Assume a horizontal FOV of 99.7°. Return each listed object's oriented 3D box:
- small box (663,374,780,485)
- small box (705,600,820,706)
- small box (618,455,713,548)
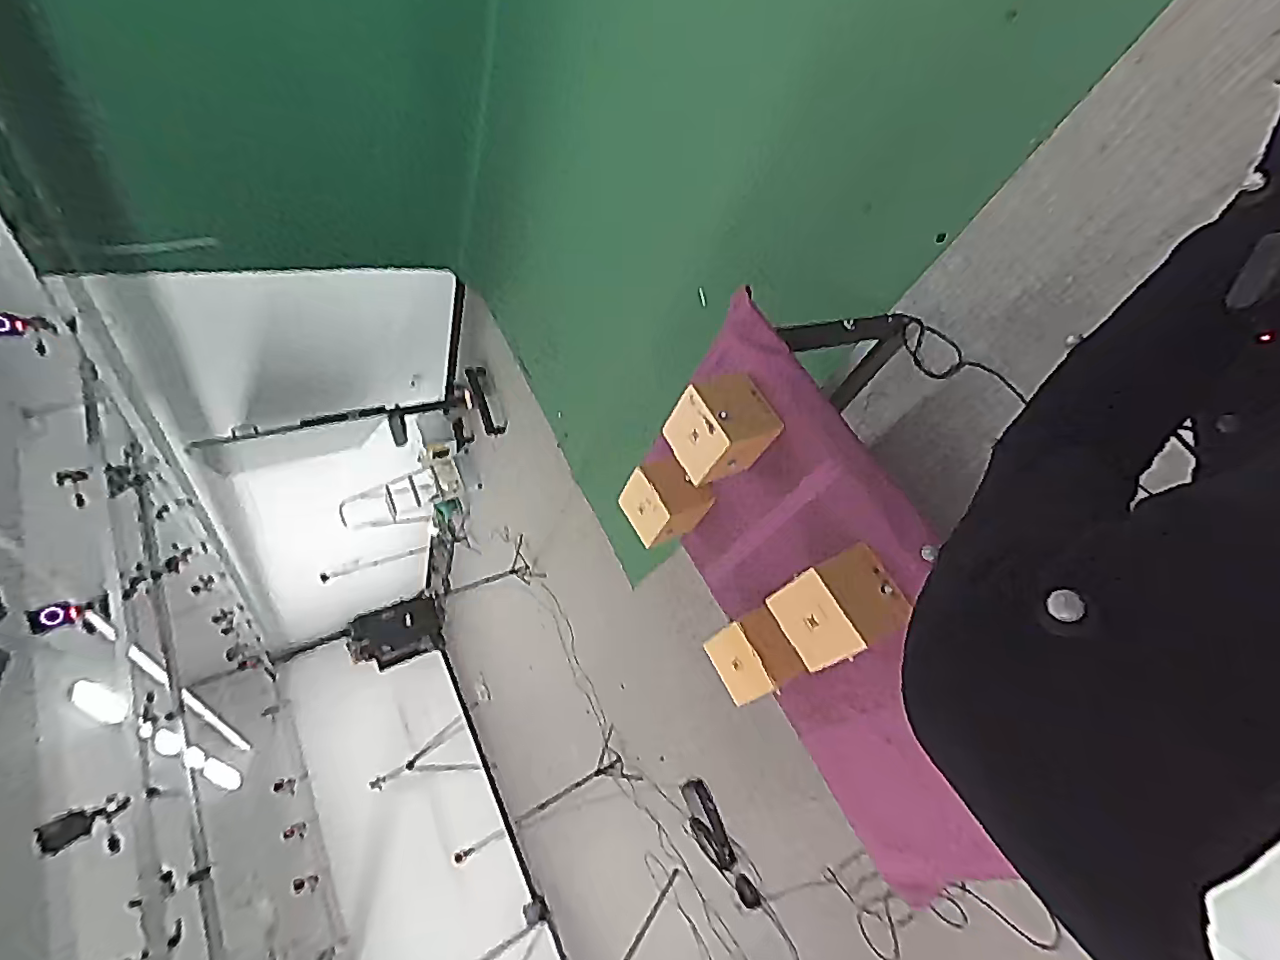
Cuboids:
[{"bbox_3d":[0.184,-0.116,1.229,0.168,0.176,0.179,59,147,19],"label":"small box"},{"bbox_3d":[0.294,0.415,1.303,0.168,0.176,0.179,60,143,22],"label":"small box"},{"bbox_3d":[0.070,0.056,1.473,0.168,0.176,0.179,56,143,20],"label":"small box"}]
